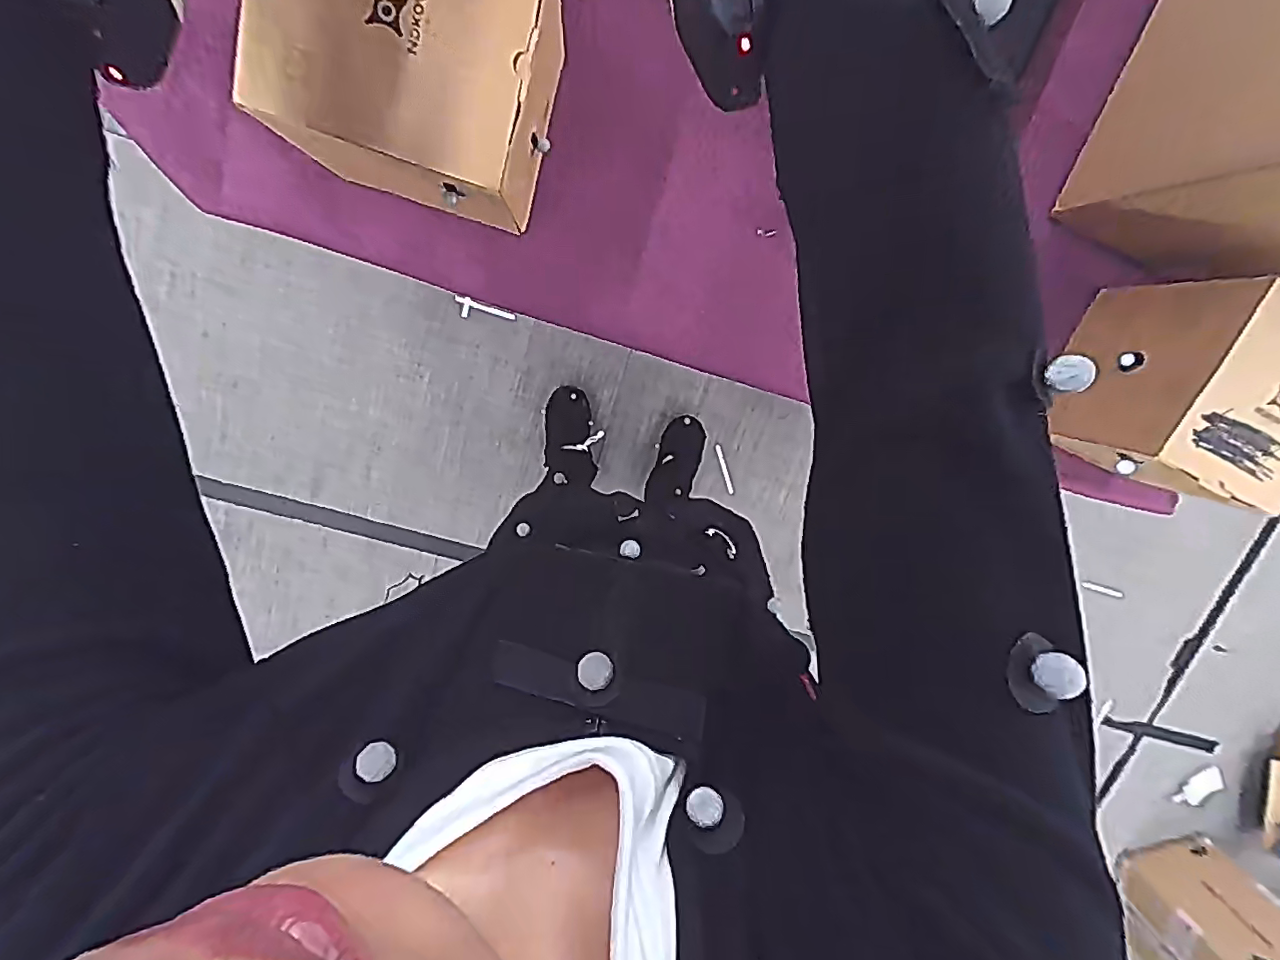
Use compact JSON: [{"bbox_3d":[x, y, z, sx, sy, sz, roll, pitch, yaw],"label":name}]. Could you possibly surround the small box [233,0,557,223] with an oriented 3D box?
[{"bbox_3d":[-0.169,-0.322,0.424,0.179,0.176,0.168,13,103,-11],"label":"small box"}]
